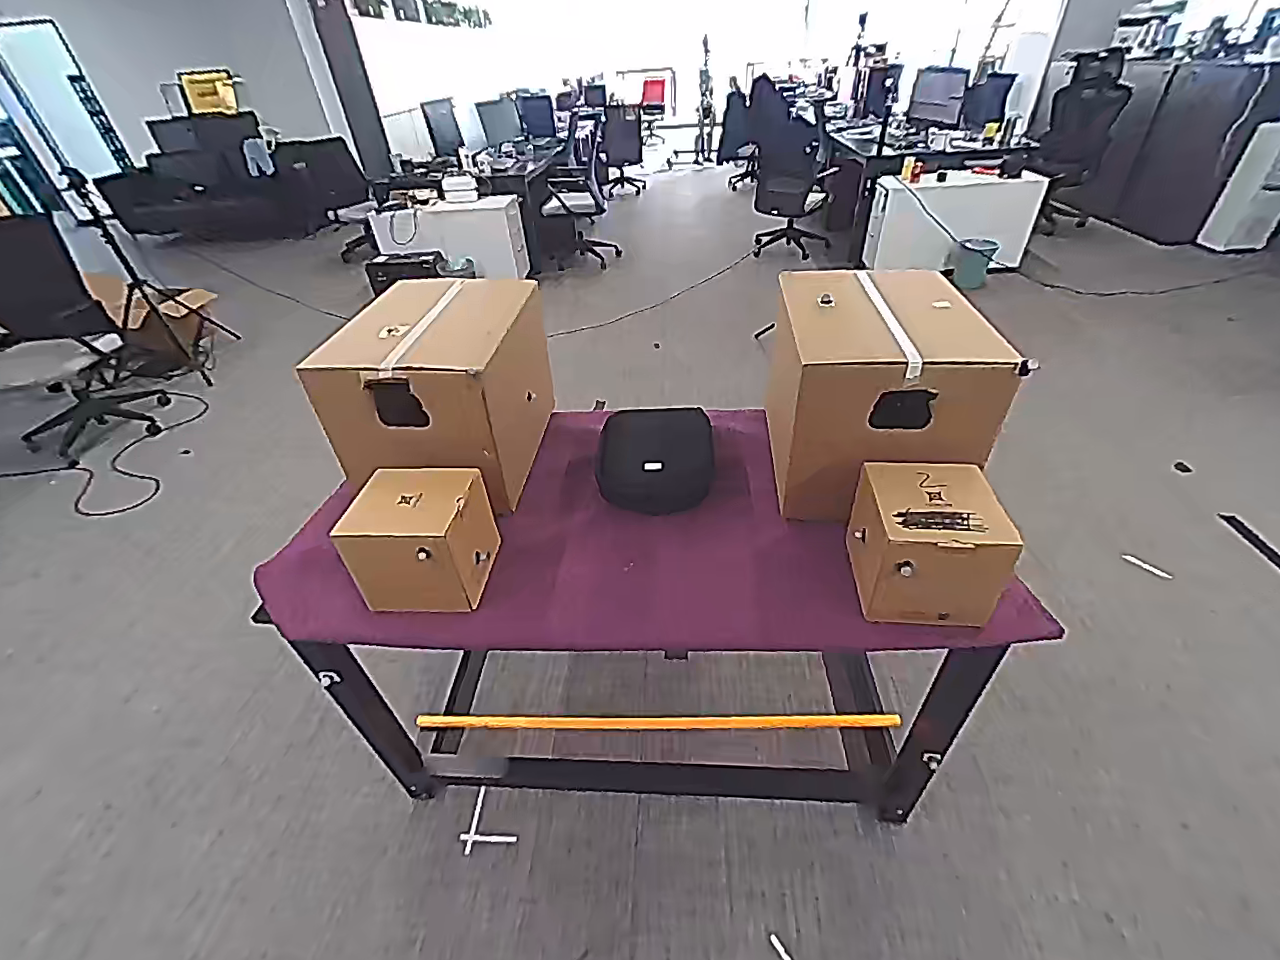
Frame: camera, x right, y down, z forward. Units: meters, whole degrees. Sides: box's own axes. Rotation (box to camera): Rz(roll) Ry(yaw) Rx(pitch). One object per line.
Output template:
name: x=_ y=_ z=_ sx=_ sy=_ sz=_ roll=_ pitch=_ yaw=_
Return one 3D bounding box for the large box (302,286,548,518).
large box: x=-0.388 y=-0.170 z=1.114 sx=0.320 sy=0.320 sz=0.408 roll=1 pitch=41 yaw=4

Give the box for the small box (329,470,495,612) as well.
small box: x=-0.357 y=0.100 z=0.885 sx=0.179 sy=0.176 sz=0.168 roll=-1 pitch=37 yaw=4
